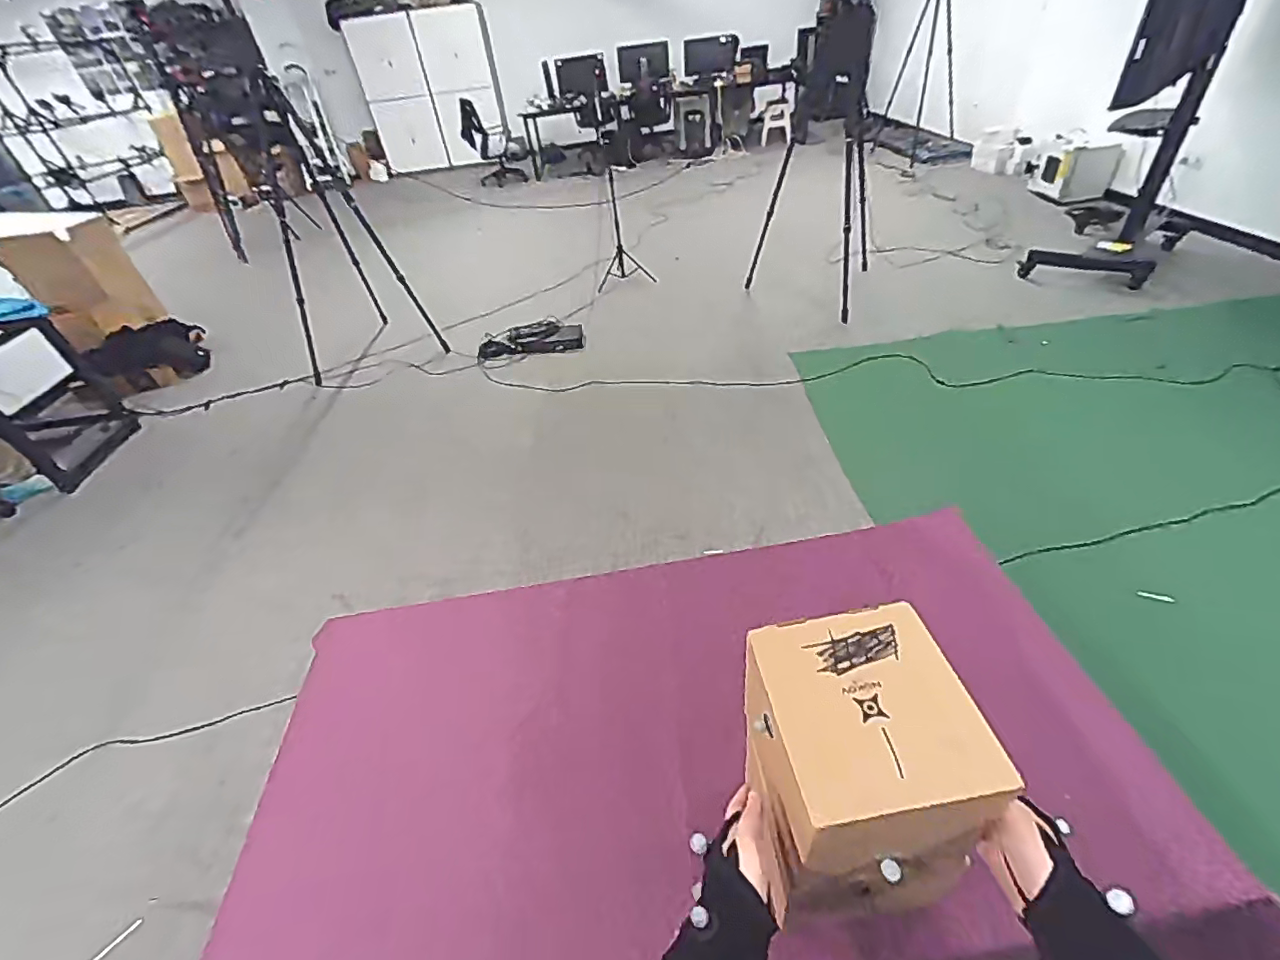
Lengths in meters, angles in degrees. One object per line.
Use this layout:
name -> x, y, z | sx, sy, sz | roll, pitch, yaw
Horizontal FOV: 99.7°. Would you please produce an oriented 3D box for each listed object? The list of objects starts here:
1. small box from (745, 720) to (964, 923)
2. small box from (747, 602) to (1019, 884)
small box -> 0.224, 0.378, 0.616 | 0.179, 0.176, 0.168 | -8, 40, 1
small box -> 0.203, 0.248, 0.517 | 0.168, 0.176, 0.179 | -11, 40, -1
